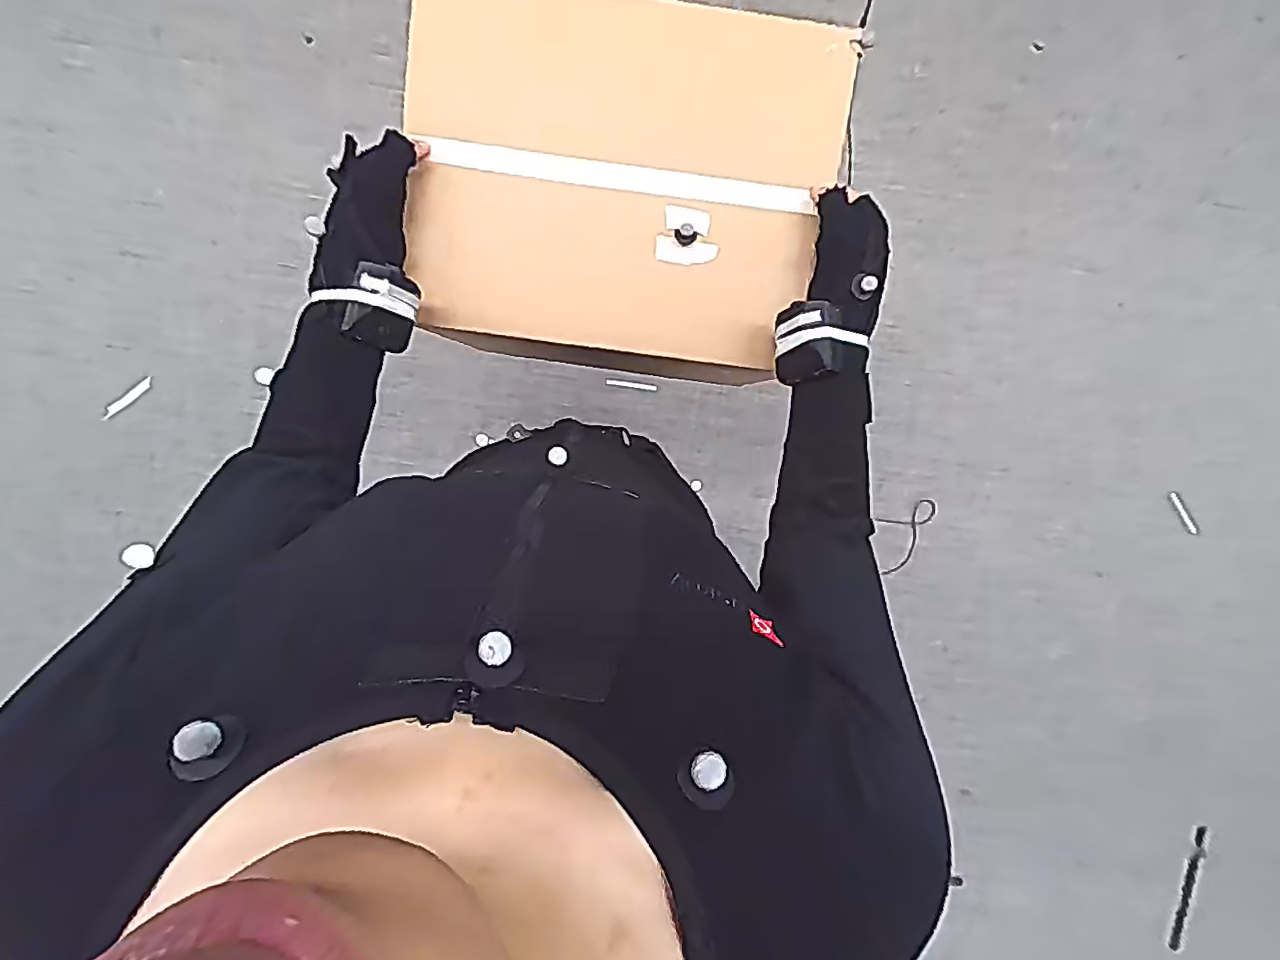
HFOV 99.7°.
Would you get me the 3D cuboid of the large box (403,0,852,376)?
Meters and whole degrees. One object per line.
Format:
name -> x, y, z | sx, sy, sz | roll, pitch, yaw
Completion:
large box -> -0.022, -0.310, 0.657 | 0.408, 0.320, 0.320 | 7, 98, -3
